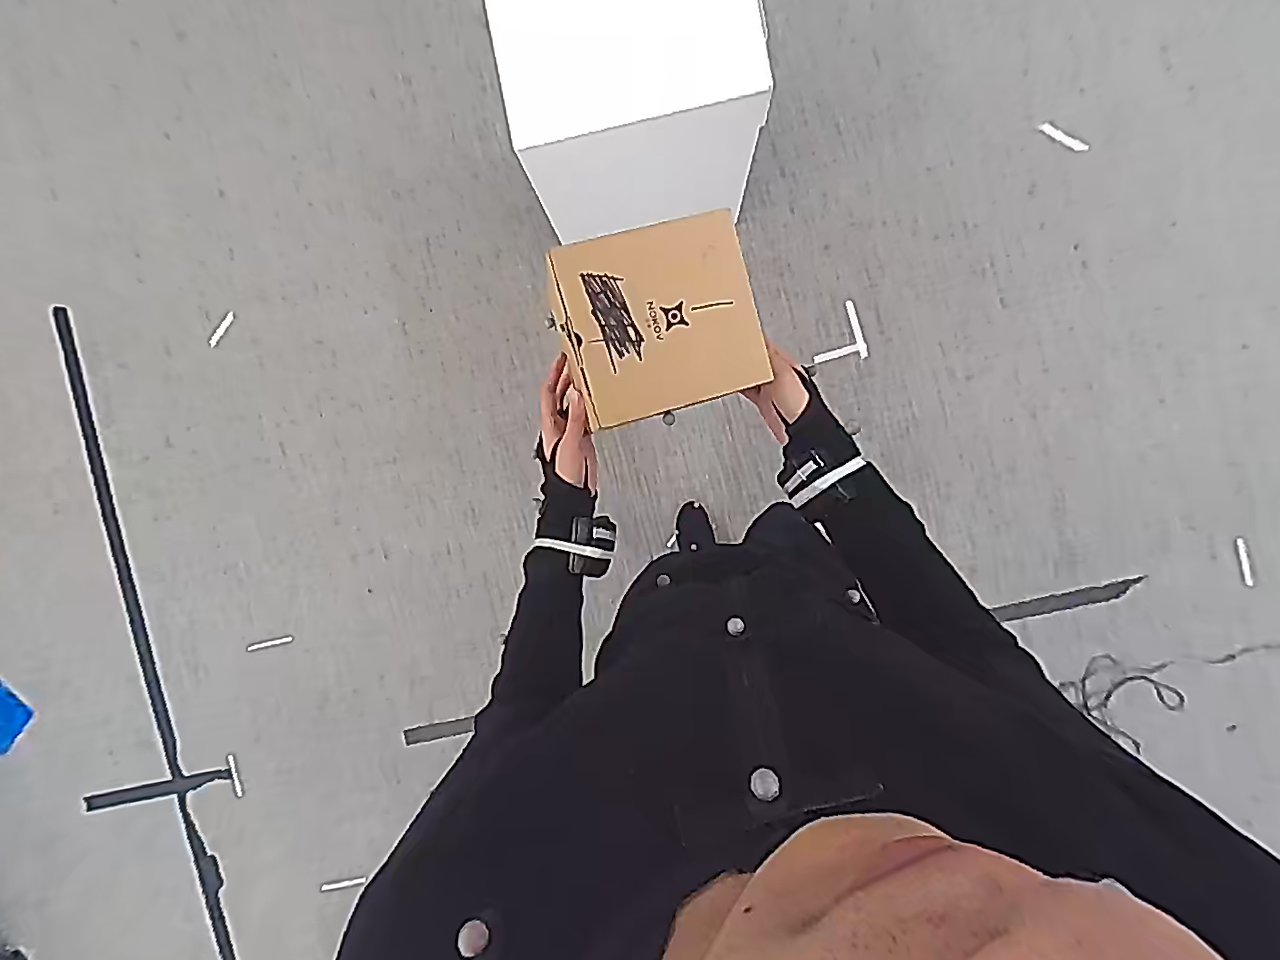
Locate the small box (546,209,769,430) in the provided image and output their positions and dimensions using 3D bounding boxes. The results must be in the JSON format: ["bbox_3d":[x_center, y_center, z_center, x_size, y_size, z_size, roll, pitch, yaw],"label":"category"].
[{"bbox_3d":[0.008,-0.154,0.574,0.179,0.176,0.168,-17,96,-9],"label":"small box"}]
